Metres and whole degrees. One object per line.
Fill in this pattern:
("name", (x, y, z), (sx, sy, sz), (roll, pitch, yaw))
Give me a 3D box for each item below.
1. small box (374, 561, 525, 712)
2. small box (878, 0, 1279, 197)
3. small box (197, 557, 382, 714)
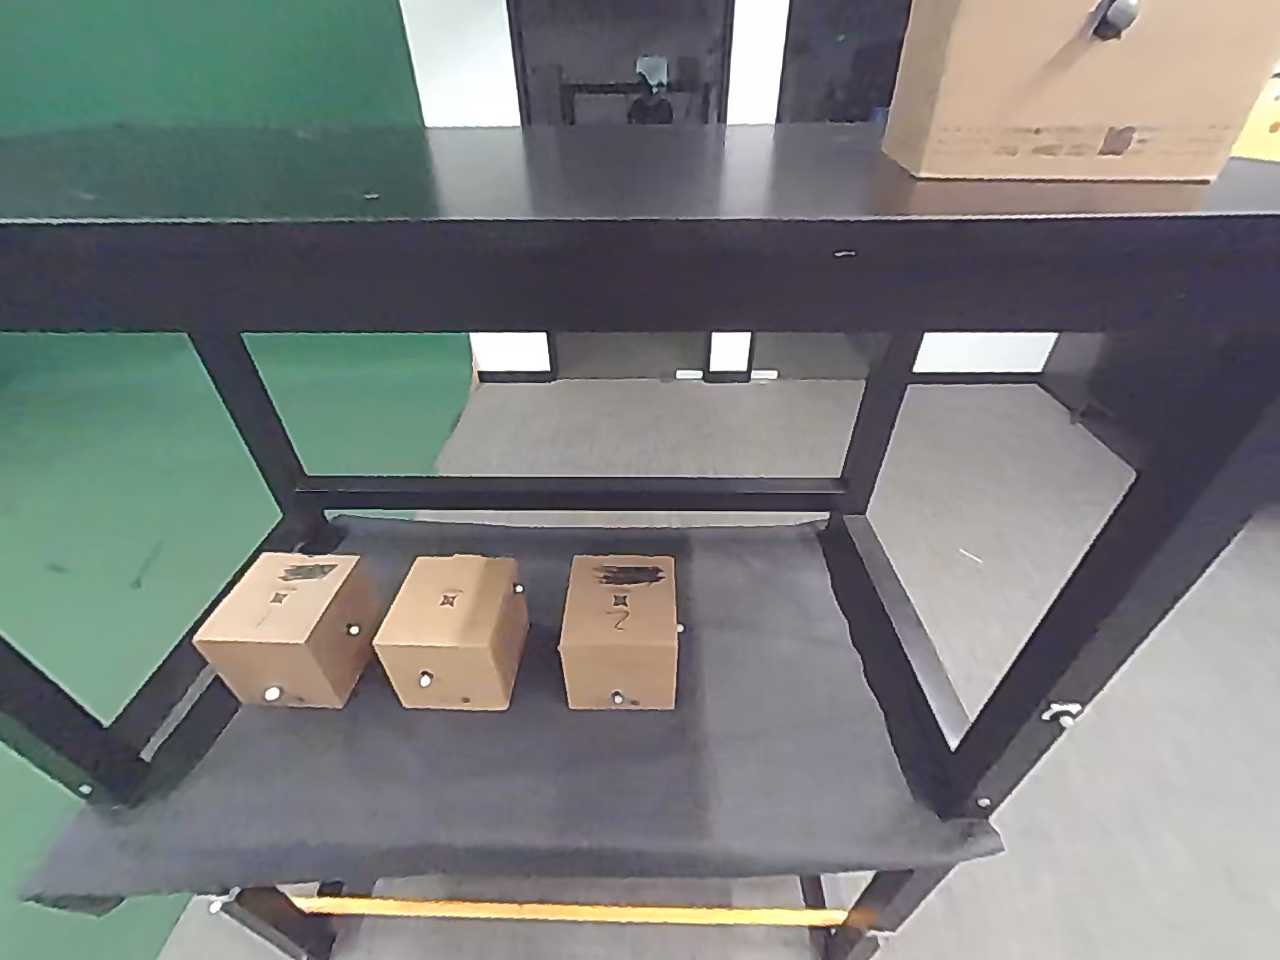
("small box", (-0.287, 0.250, 0.865), (0.168, 0.176, 0.179), (1, 36, 2))
("small box", (0.271, -0.293, 0.357), (0.168, 0.176, 0.179), (7, 37, 10))
("small box", (-0.540, 0.246, 0.869), (0.168, 0.176, 0.179), (1, 37, 2))
